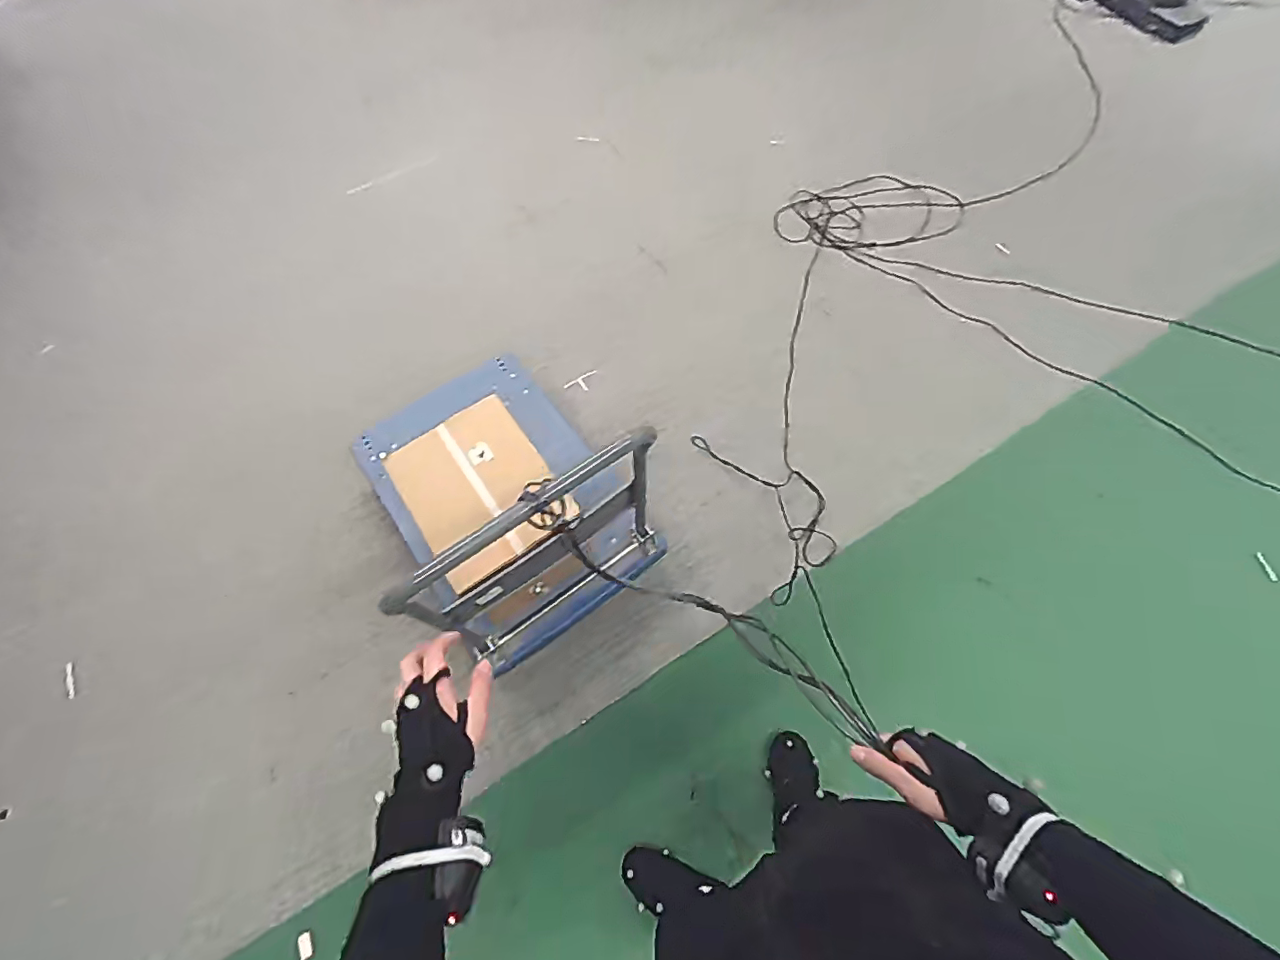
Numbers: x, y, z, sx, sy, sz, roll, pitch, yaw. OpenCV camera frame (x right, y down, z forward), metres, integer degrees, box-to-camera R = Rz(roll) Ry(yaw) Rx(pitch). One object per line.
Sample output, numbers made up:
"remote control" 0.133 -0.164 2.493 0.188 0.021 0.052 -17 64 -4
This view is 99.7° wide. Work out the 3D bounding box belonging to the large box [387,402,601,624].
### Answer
"large box" -0.351 0.091 1.369 0.320 0.320 0.408 -34 66 -13
